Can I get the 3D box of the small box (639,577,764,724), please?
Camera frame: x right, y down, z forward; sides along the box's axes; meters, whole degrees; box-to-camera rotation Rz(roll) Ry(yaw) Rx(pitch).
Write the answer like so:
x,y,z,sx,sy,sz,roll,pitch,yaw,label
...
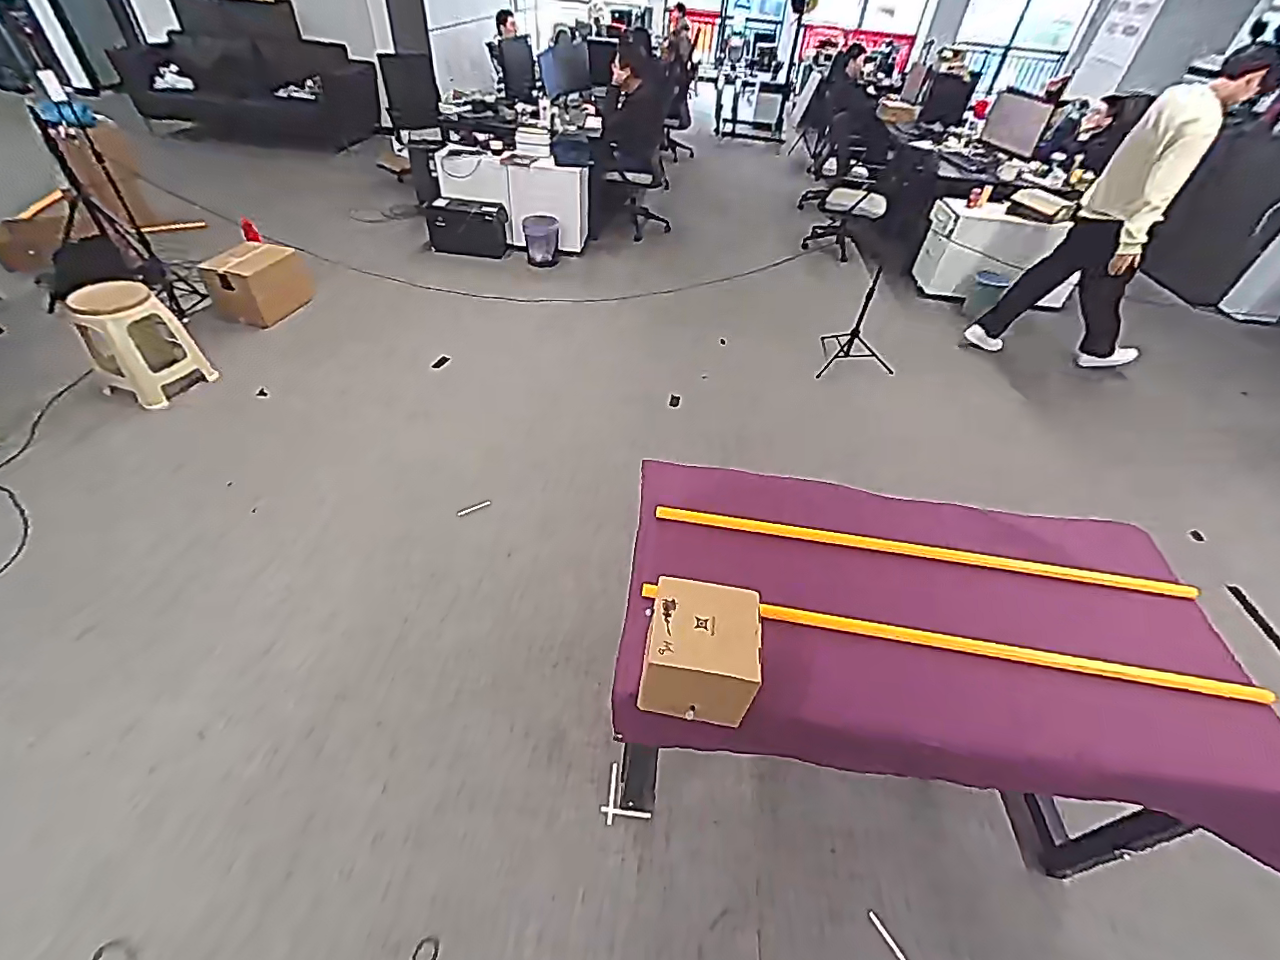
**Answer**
x,y,z,sx,sy,sz,roll,pitch,yaw,label
0.103,0.293,0.920,0.179,0.176,0.168,10,43,2,small box
